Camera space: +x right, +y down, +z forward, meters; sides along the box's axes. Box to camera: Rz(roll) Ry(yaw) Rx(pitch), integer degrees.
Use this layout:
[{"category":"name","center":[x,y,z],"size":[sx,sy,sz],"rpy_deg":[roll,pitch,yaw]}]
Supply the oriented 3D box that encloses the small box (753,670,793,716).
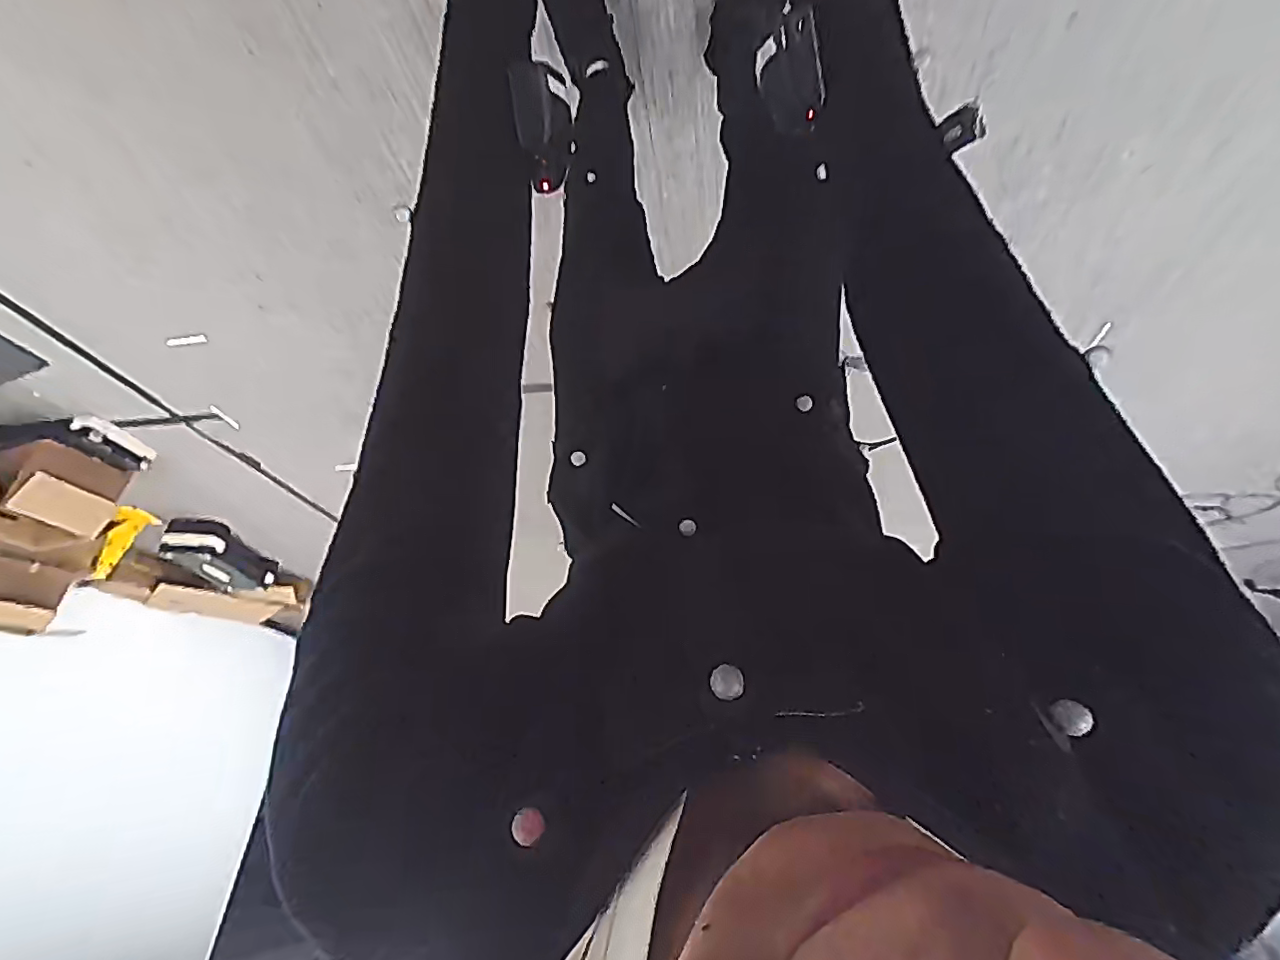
[{"category":"small box","center":[0.621,1.001,2.538],"size":[0.168,0.176,0.179],"rpy_deg":[-3,147,8]}]
